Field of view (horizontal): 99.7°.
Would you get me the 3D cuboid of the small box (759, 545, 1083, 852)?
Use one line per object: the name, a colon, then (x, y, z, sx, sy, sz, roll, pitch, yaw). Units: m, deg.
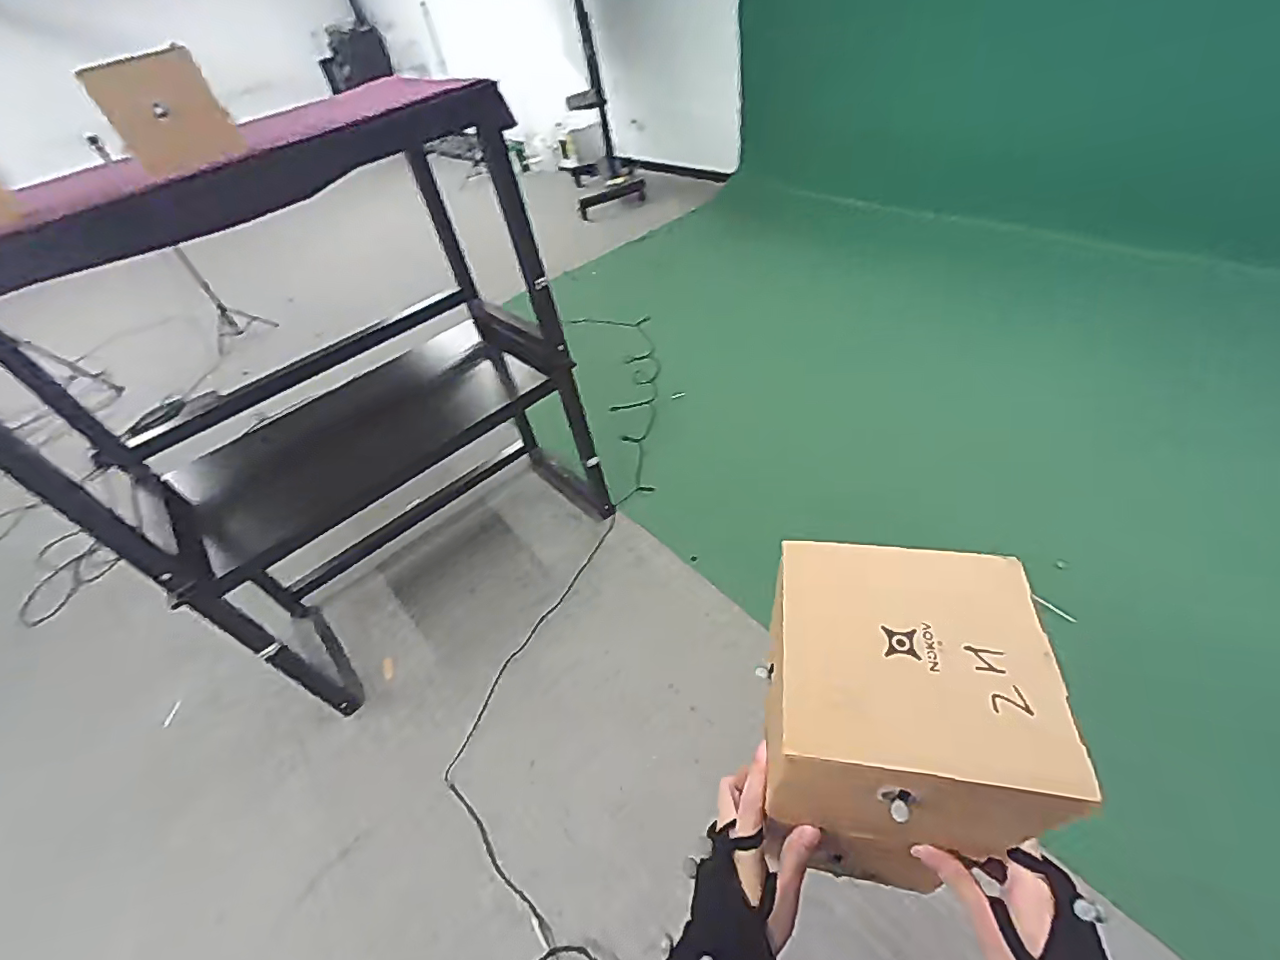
small box: (0.187, 0.171, 0.427, 0.179, 0.176, 0.168, 3, 47, 12)

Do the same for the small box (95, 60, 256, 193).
small box: (-0.868, -0.671, 1.027, 0.179, 0.176, 0.168, -36, 47, -21)

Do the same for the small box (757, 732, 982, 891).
small box: (0.209, 0.283, 0.547, 0.168, 0.176, 0.179, 4, 47, 12)

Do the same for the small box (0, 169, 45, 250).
small box: (-1.134, -0.463, 0.878, 0.168, 0.176, 0.179, -38, 48, -23)
